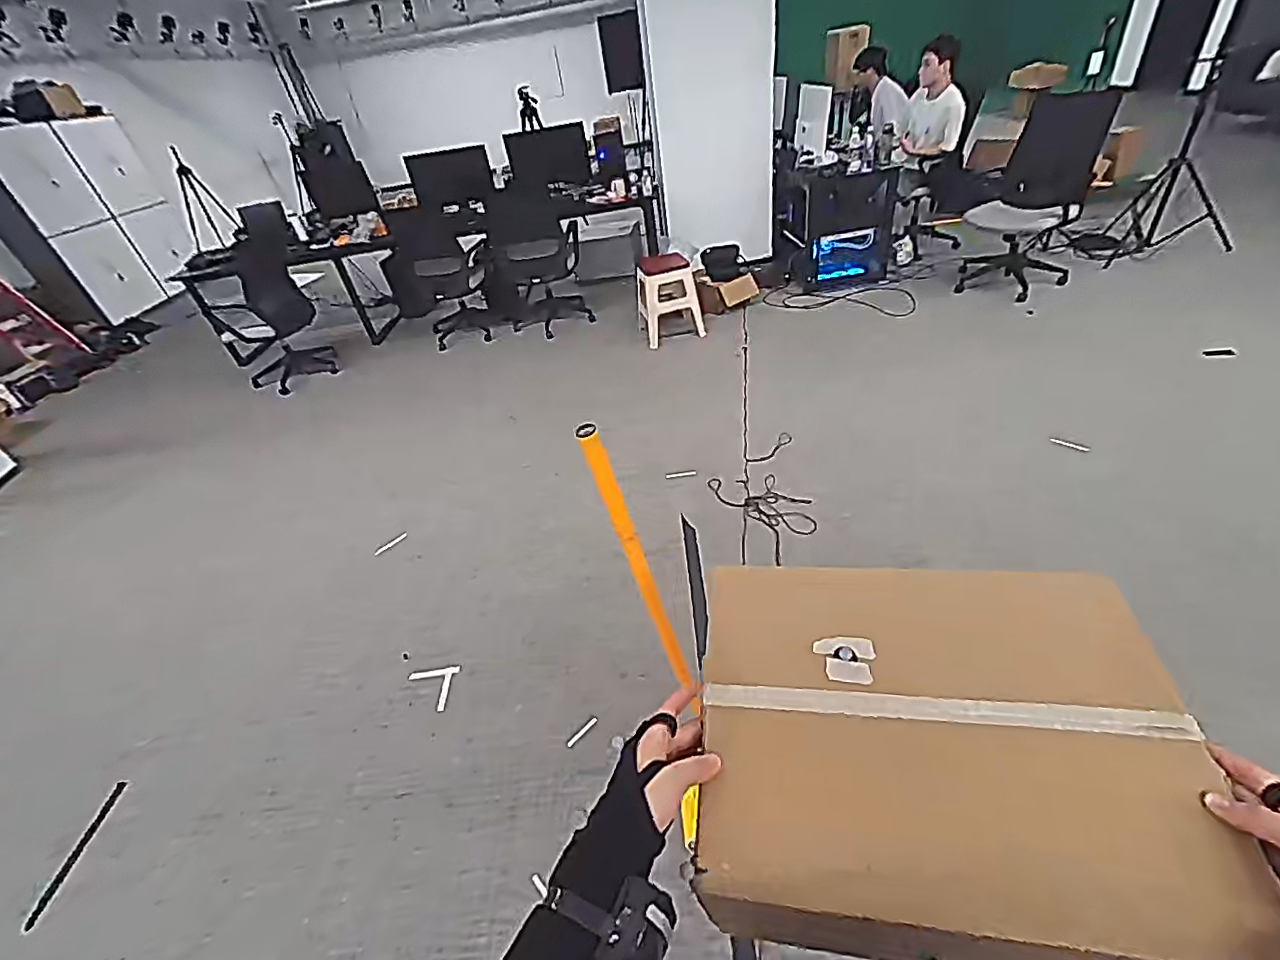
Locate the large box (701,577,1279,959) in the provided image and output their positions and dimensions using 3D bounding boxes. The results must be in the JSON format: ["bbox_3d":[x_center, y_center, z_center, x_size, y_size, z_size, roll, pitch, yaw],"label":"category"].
[{"bbox_3d":[0.289,0.323,0.606,0.408,0.320,0.320,-1,44,13],"label":"large box"}]
